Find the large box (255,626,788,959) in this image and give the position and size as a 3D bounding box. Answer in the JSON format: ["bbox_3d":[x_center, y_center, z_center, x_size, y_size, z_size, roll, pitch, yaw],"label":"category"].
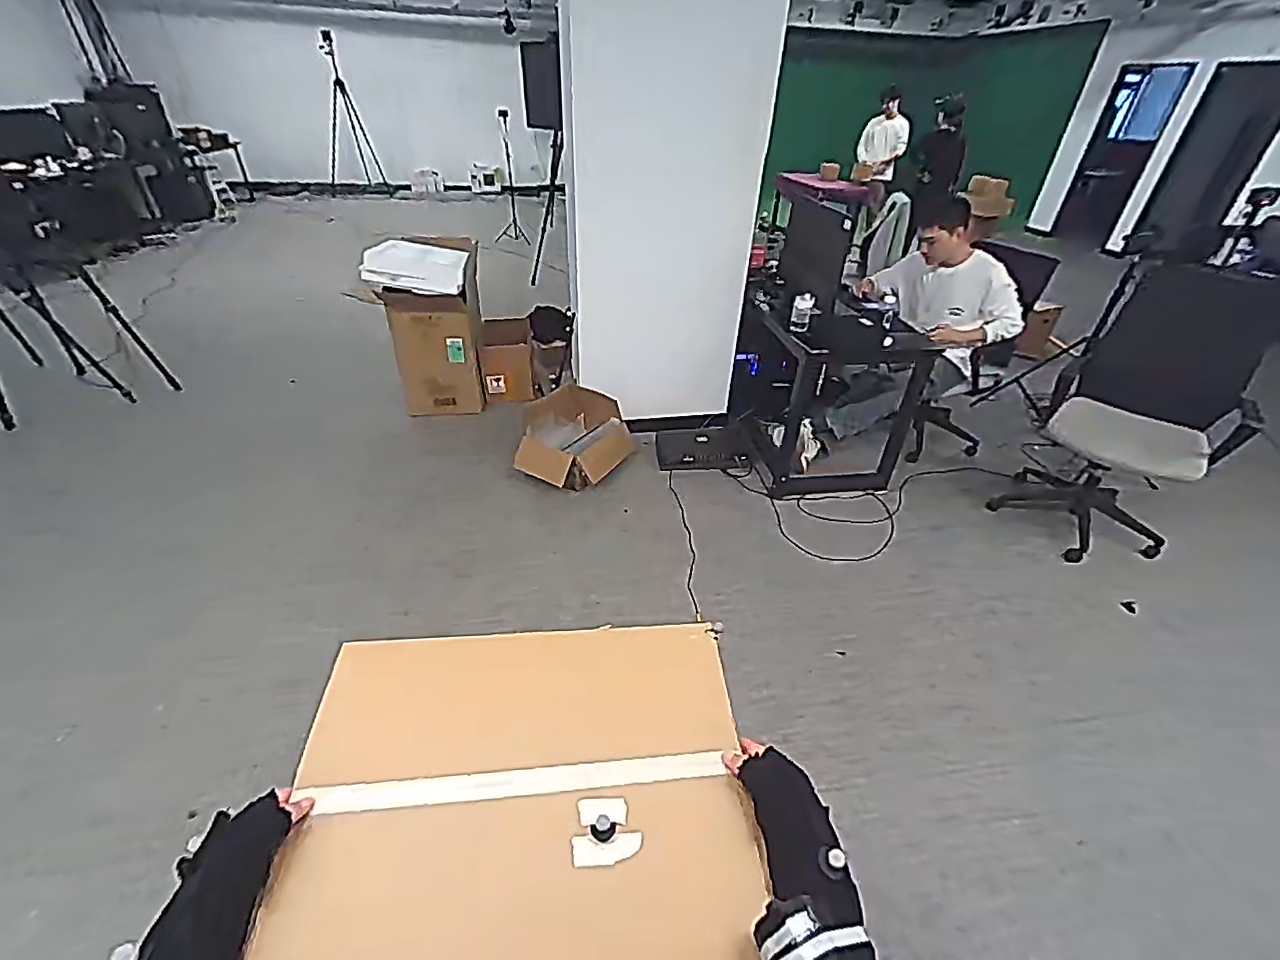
[{"bbox_3d":[-0.109,0.388,0.595,0.408,0.320,0.320,-1,42,-7],"label":"large box"}]
